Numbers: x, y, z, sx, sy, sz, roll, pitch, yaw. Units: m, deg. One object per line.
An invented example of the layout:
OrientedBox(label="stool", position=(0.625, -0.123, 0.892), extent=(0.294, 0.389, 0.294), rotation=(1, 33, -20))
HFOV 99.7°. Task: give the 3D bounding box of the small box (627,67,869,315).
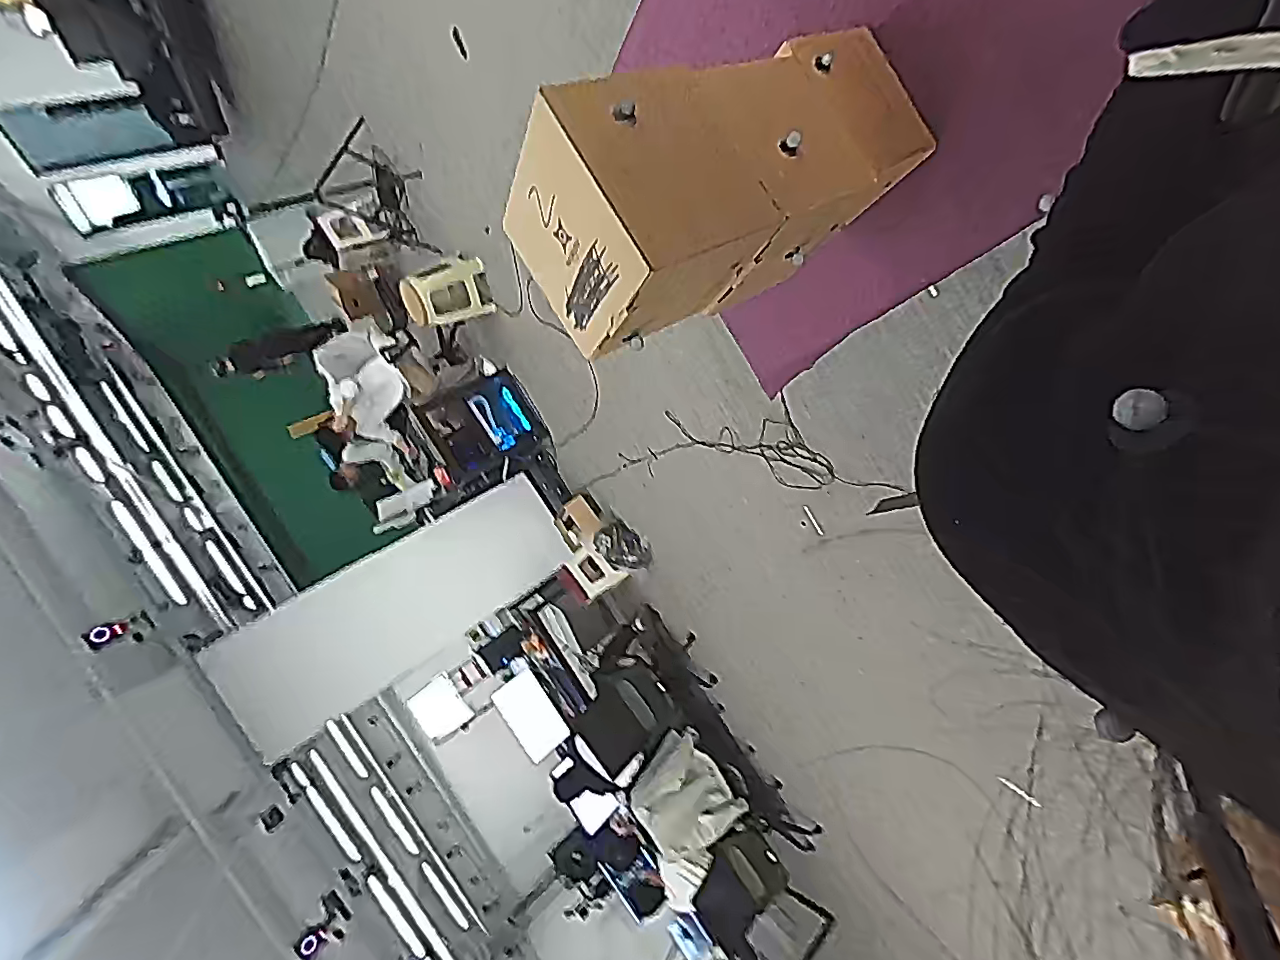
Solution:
OrientedBox(label="small box", position=(0.121, -0.329, 0.618), extent=(0.179, 0.176, 0.168), rotation=(55, 152, 2))

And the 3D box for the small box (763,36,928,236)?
OrientedBox(label="small box", position=(0.228, -0.426, 0.697), extent=(0.179, 0.176, 0.168), rotation=(58, 152, -2))
